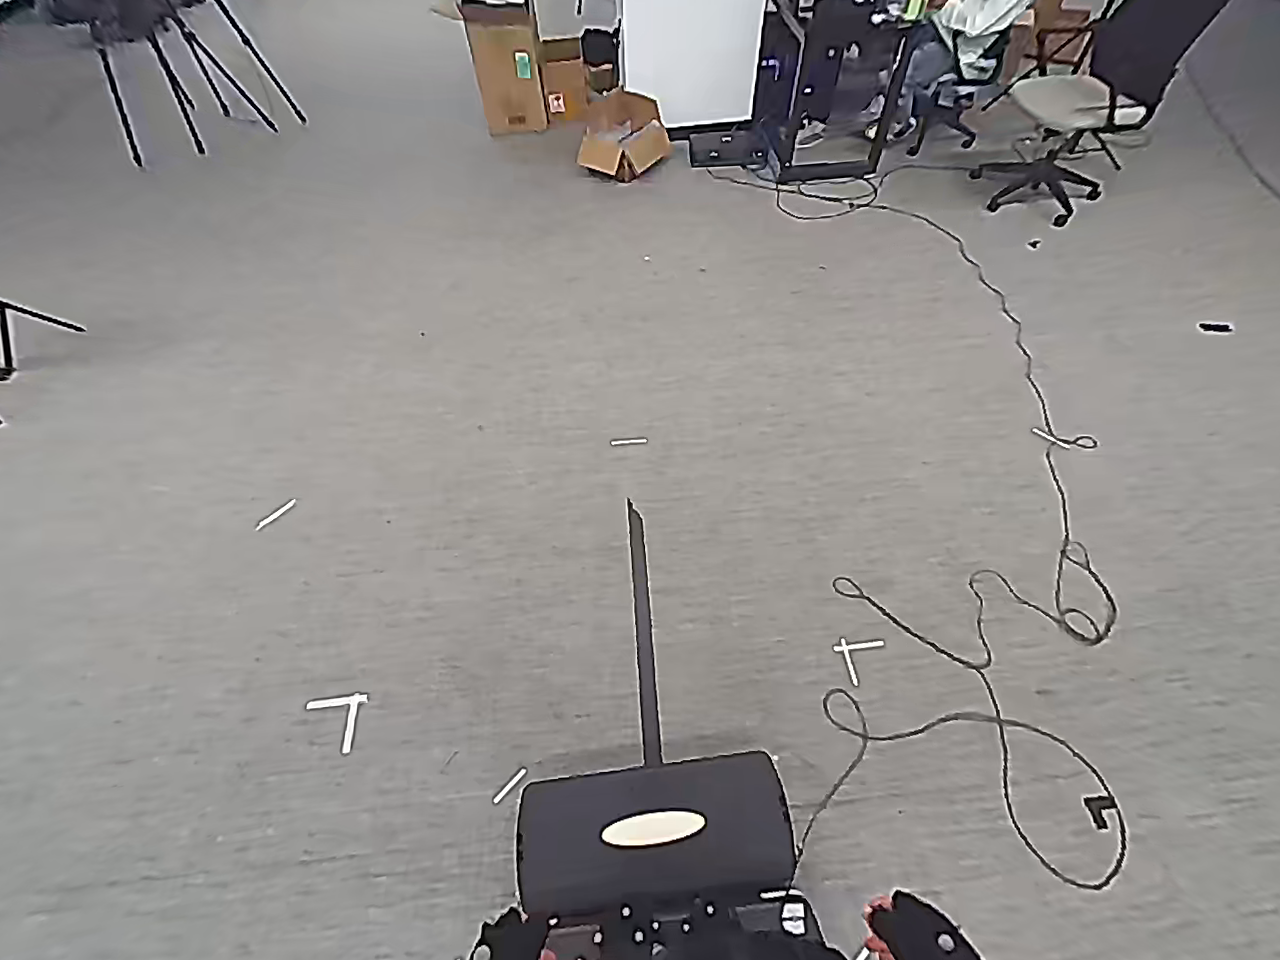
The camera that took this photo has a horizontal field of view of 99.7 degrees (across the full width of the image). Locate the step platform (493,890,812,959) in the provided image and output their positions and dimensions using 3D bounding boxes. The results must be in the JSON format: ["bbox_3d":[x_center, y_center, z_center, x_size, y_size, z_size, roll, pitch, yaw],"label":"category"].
[{"bbox_3d":[0.029,1.081,1.135,0.684,0.204,0.286,-7,55,-1],"label":"step platform"}]
